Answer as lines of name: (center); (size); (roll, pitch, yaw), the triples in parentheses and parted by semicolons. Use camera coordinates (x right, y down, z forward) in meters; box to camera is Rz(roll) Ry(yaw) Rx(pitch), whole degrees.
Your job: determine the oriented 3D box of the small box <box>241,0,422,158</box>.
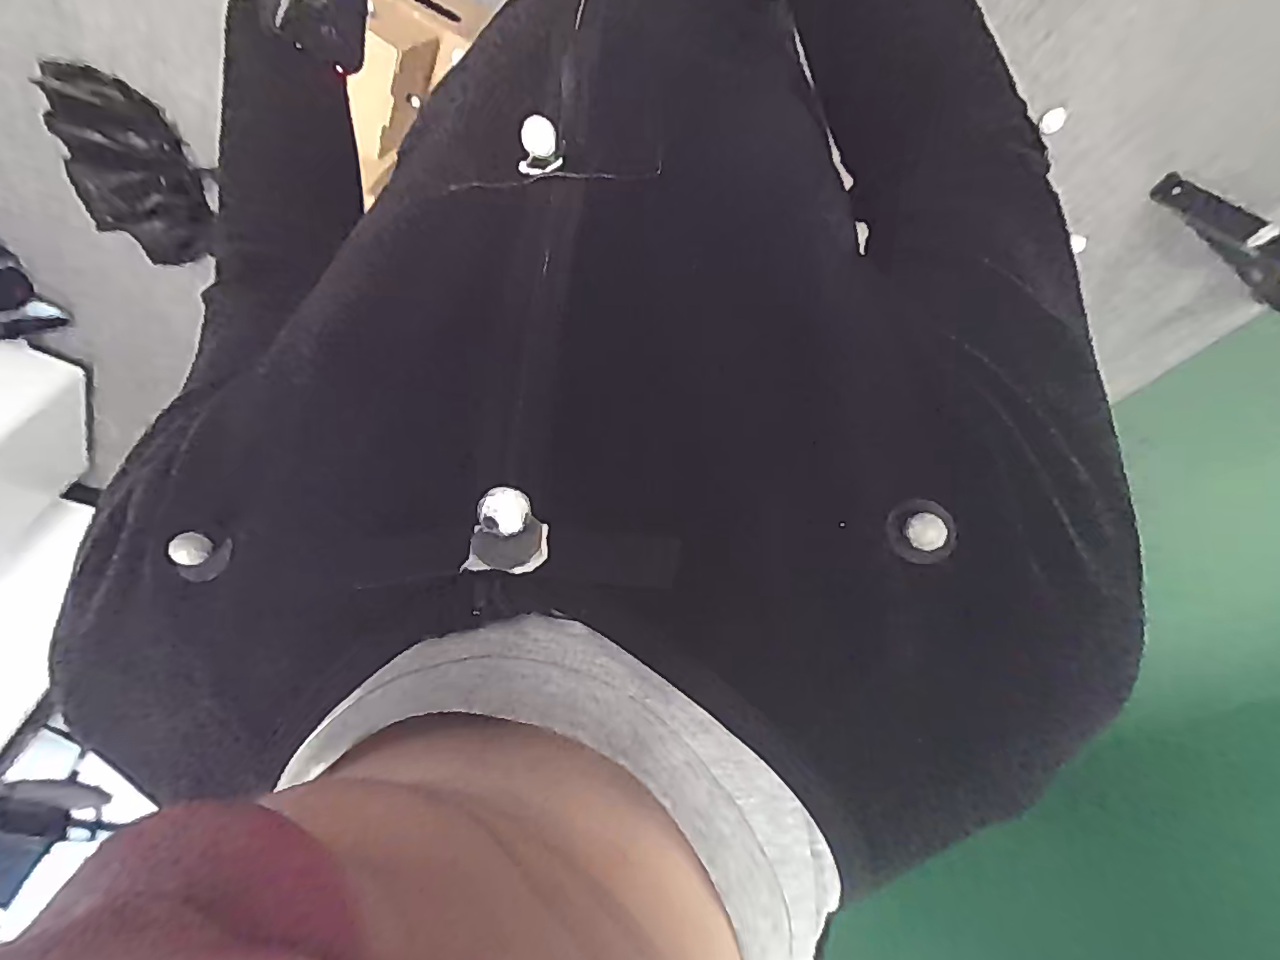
small box: (-0.447, -0.628, 0.802); (0.179, 0.176, 0.168); (24, 131, -21)
